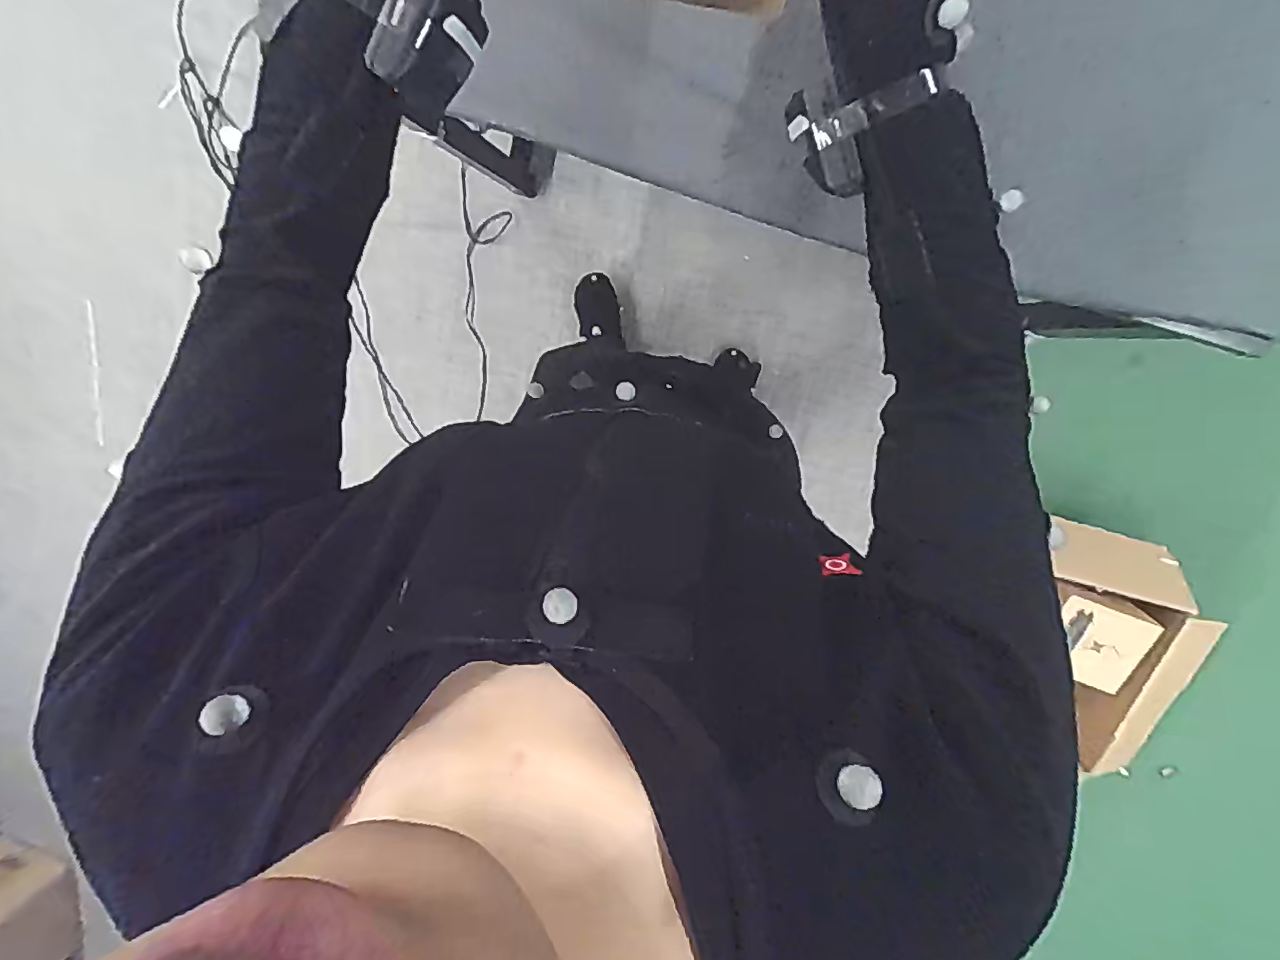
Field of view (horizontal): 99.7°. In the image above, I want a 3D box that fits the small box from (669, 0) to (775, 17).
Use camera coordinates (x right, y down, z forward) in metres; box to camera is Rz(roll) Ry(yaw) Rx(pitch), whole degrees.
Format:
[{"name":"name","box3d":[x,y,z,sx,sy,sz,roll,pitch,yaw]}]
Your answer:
[{"name":"small box","box3d":[0.038,-0.445,0.333,0.168,0.176,0.179,11,106,1]}]
